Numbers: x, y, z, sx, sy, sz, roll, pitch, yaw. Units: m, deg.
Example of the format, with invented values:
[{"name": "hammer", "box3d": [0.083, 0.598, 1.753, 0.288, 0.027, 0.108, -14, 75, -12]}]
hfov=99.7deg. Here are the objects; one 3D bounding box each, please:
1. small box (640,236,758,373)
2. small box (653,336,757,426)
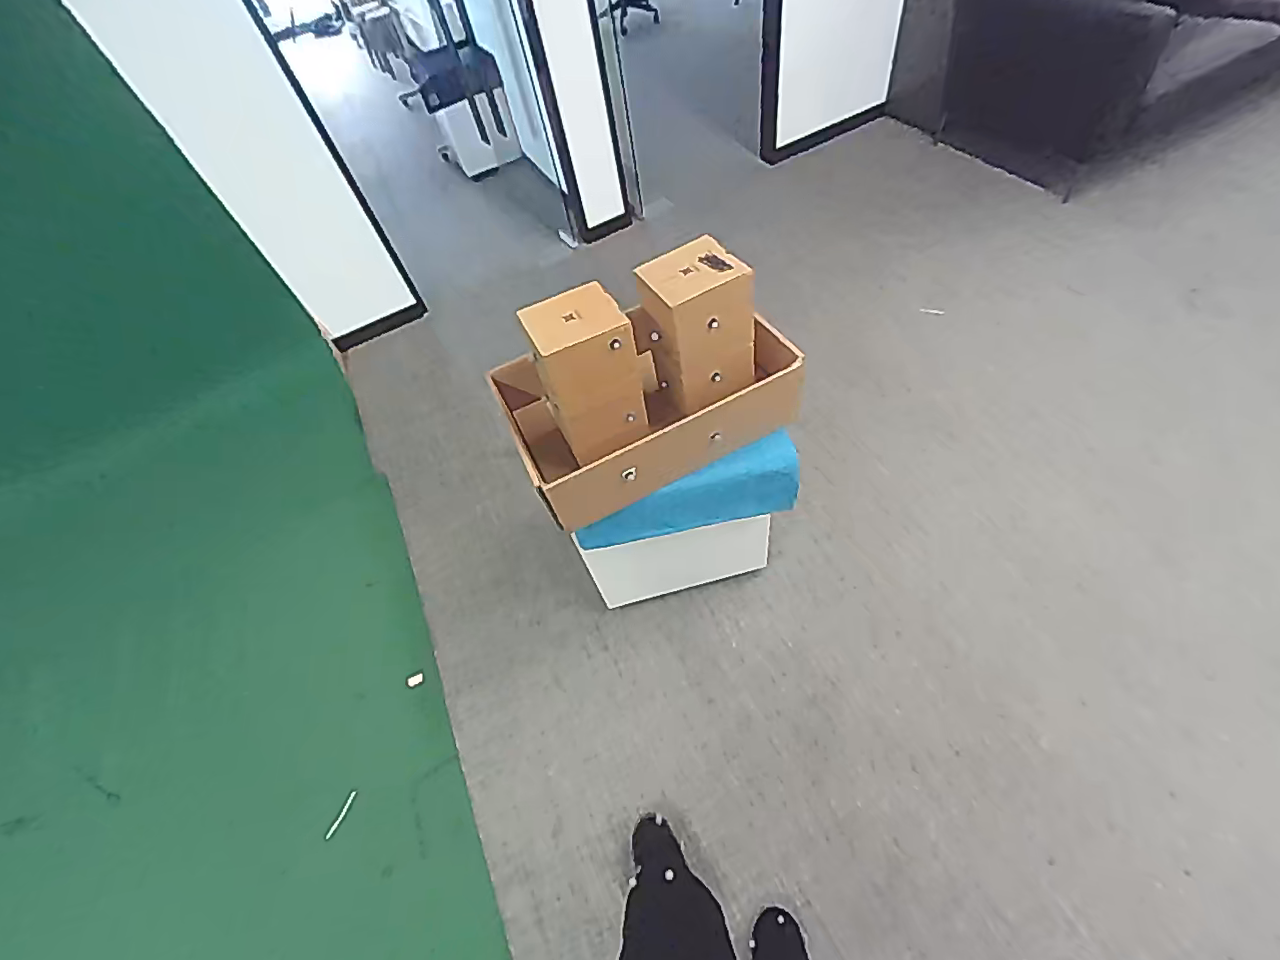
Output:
[{"name": "small box", "box3d": [0.122, -0.352, 1.094, 0.179, 0.176, 0.168, -27, 52, -7]}, {"name": "small box", "box3d": [0.152, -0.252, 1.220, 0.179, 0.176, 0.168, -26, 52, -7]}]
